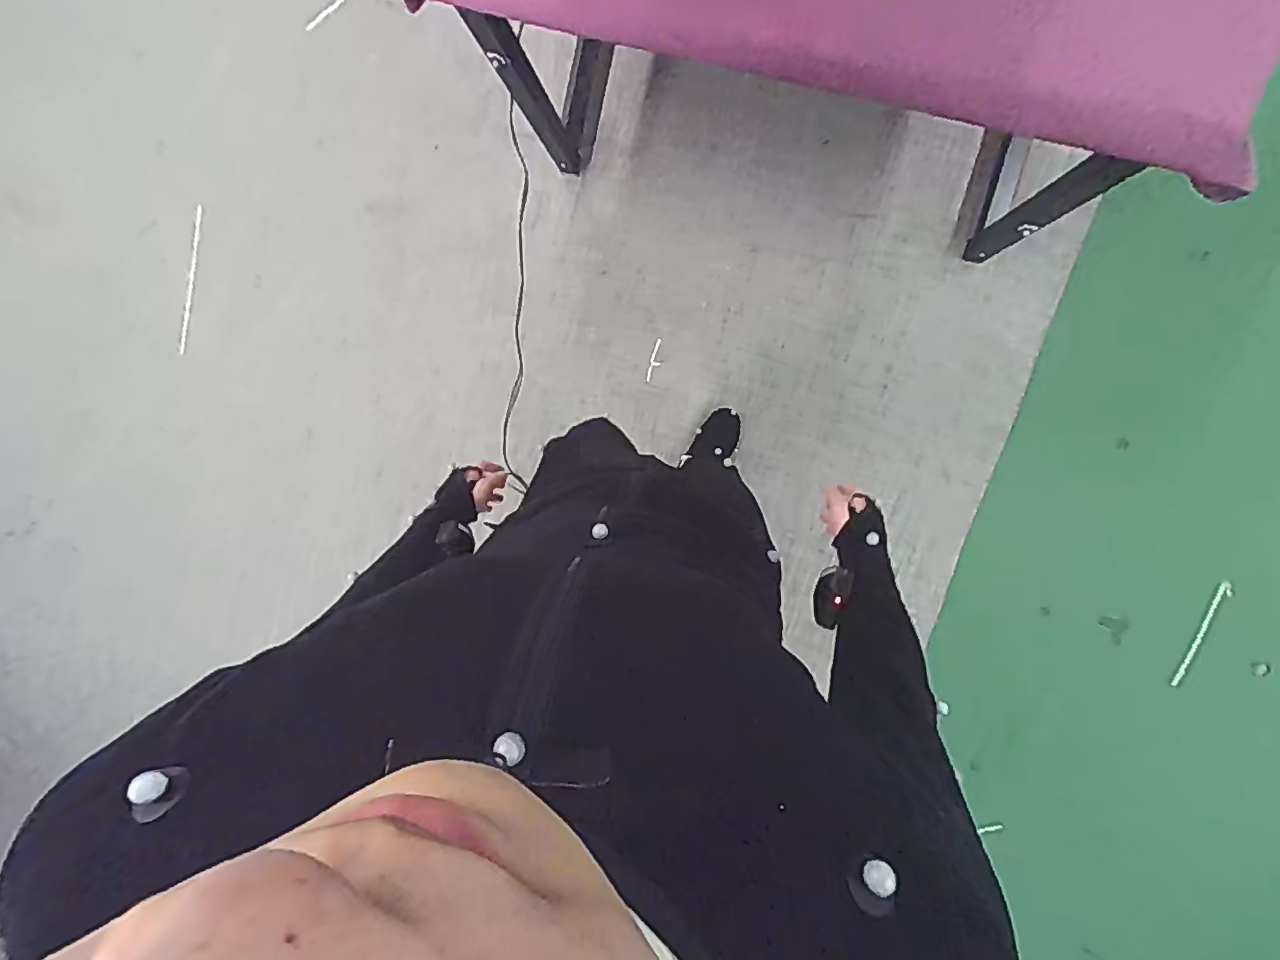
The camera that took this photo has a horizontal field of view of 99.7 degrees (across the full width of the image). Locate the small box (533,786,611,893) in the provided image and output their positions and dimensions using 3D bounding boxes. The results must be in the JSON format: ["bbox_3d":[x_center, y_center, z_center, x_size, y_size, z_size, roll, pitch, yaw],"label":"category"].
[{"bbox_3d":[-0.200,1.087,1.646,0.168,0.176,0.179,21,100,5],"label":"small box"}]
